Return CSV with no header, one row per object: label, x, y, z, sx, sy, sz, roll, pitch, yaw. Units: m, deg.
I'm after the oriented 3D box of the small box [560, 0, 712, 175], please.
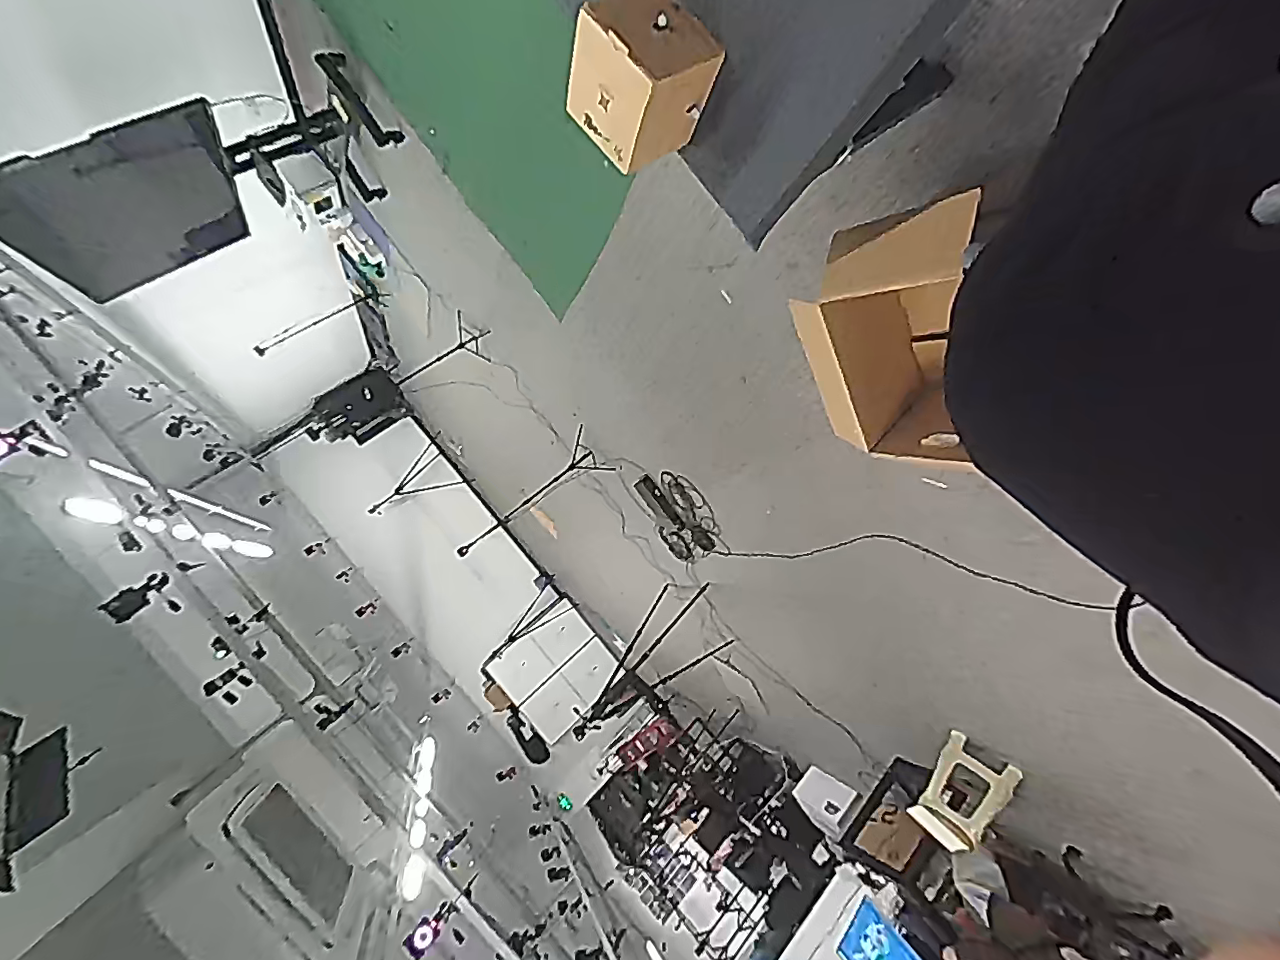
small box,-0.007,-0.666,0.903,0.168,0.176,0.179,49,156,2
